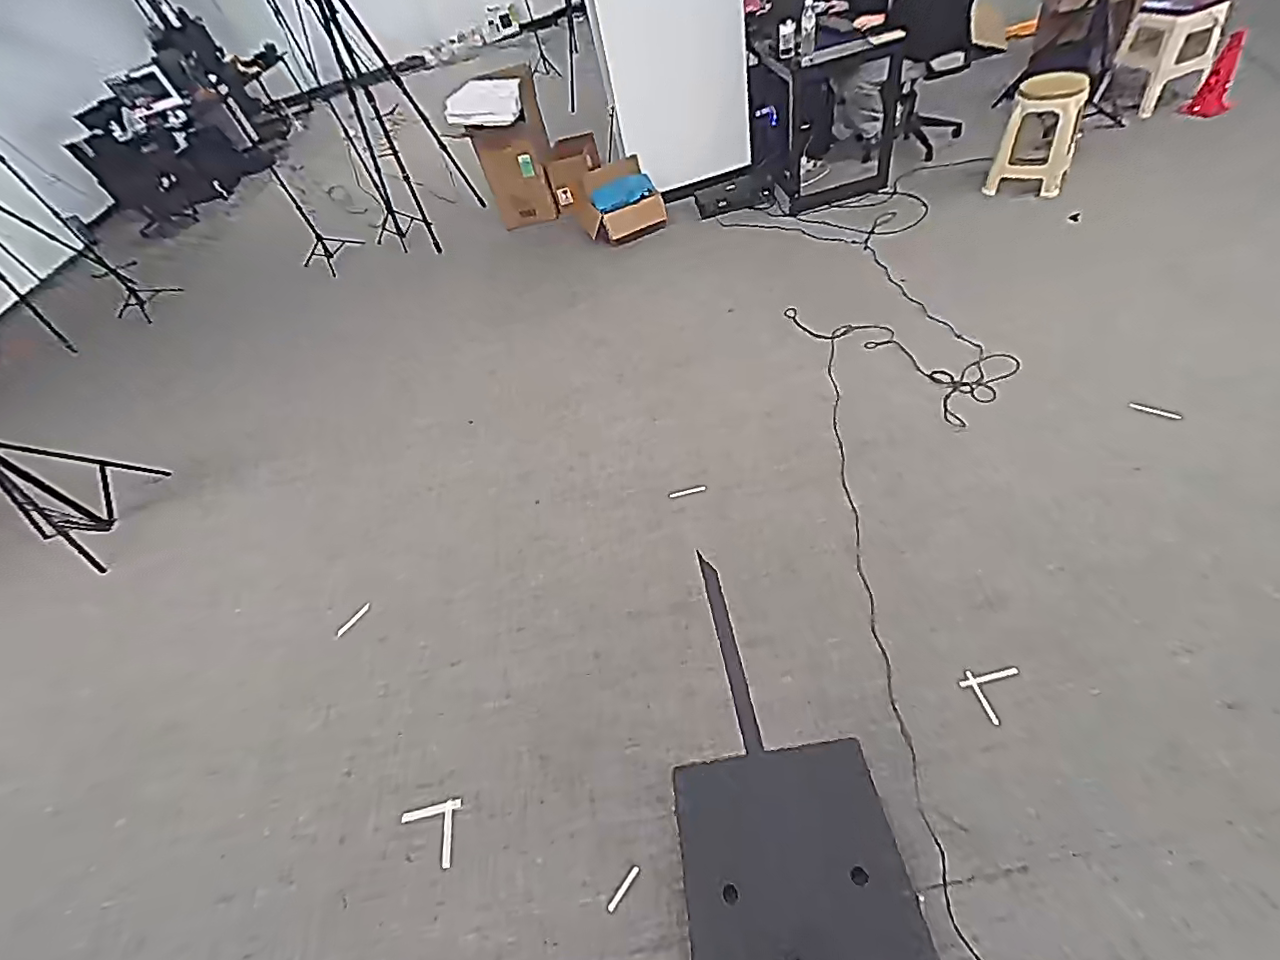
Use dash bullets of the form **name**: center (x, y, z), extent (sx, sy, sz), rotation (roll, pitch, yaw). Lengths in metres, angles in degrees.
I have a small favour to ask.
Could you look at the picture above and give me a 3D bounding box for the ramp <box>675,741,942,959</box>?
- **ramp**: center (0.356, 1.031, 1.027), extent (0.509, 0.206, 0.991), rotation (-15, 47, 5)
